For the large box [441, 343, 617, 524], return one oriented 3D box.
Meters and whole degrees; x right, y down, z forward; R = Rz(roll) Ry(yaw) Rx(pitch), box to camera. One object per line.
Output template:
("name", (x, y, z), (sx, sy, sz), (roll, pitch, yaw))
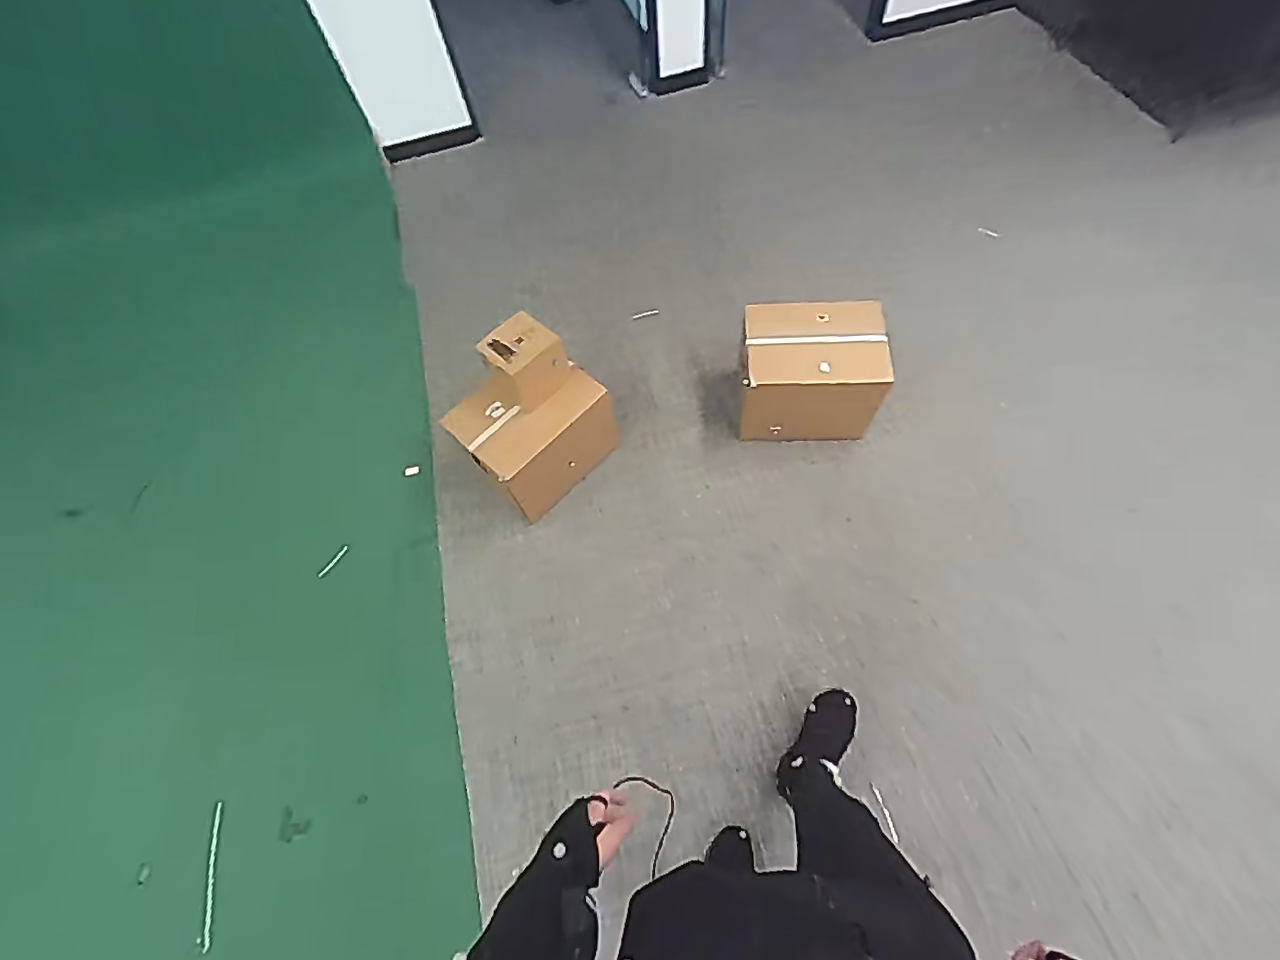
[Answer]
("large box", (-0.326, -0.142, 1.707), (0.320, 0.320, 0.408), (38, 72, 22))
